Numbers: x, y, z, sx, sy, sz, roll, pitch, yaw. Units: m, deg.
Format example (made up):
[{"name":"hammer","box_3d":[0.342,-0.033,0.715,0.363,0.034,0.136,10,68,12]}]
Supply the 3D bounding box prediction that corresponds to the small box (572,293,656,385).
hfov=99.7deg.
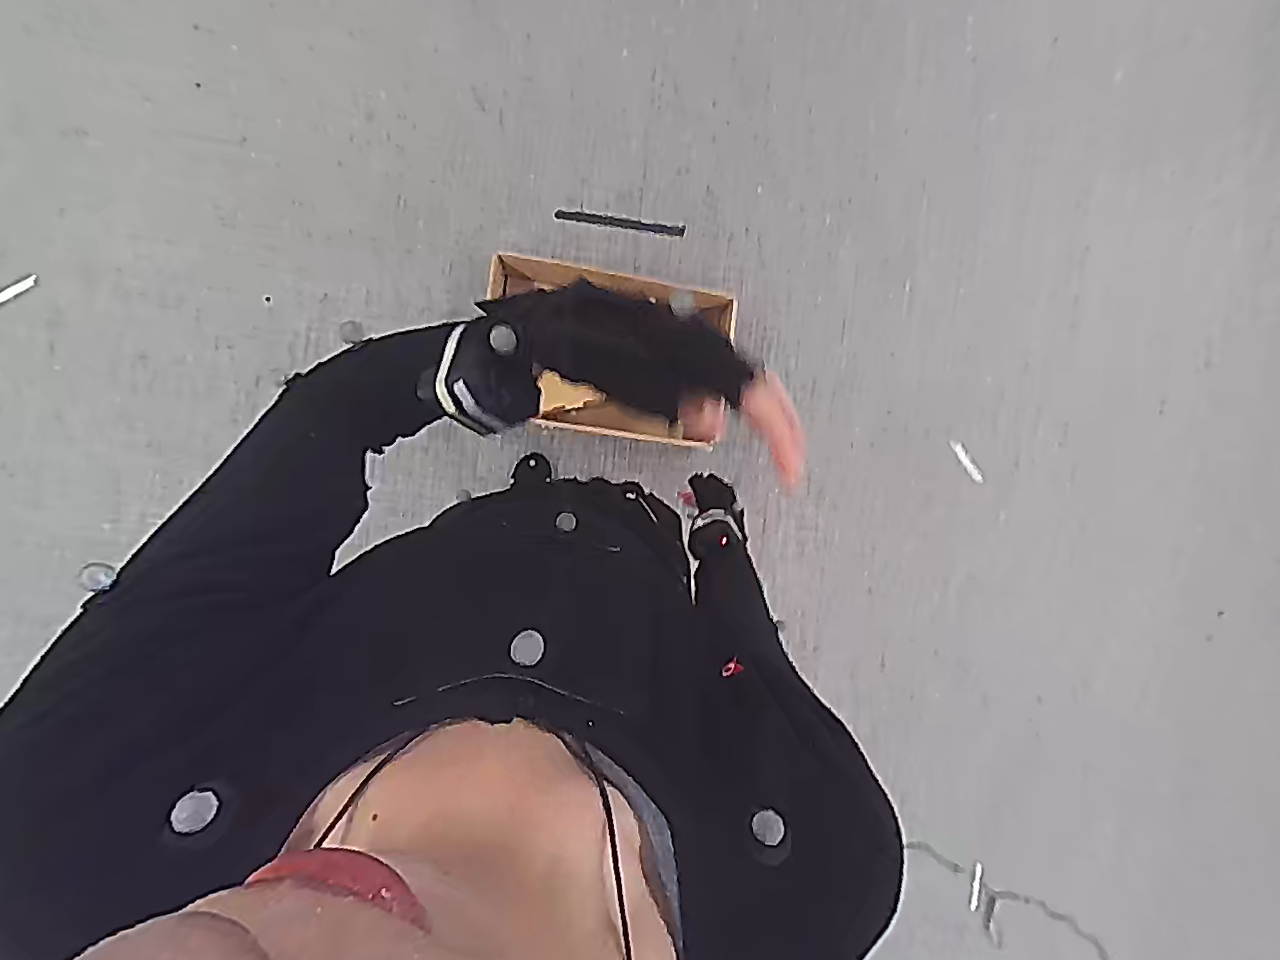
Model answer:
[{"name":"small box","box_3d":[-0.063,-0.310,1.216,0.179,0.176,0.168,0,90,-6]}]
